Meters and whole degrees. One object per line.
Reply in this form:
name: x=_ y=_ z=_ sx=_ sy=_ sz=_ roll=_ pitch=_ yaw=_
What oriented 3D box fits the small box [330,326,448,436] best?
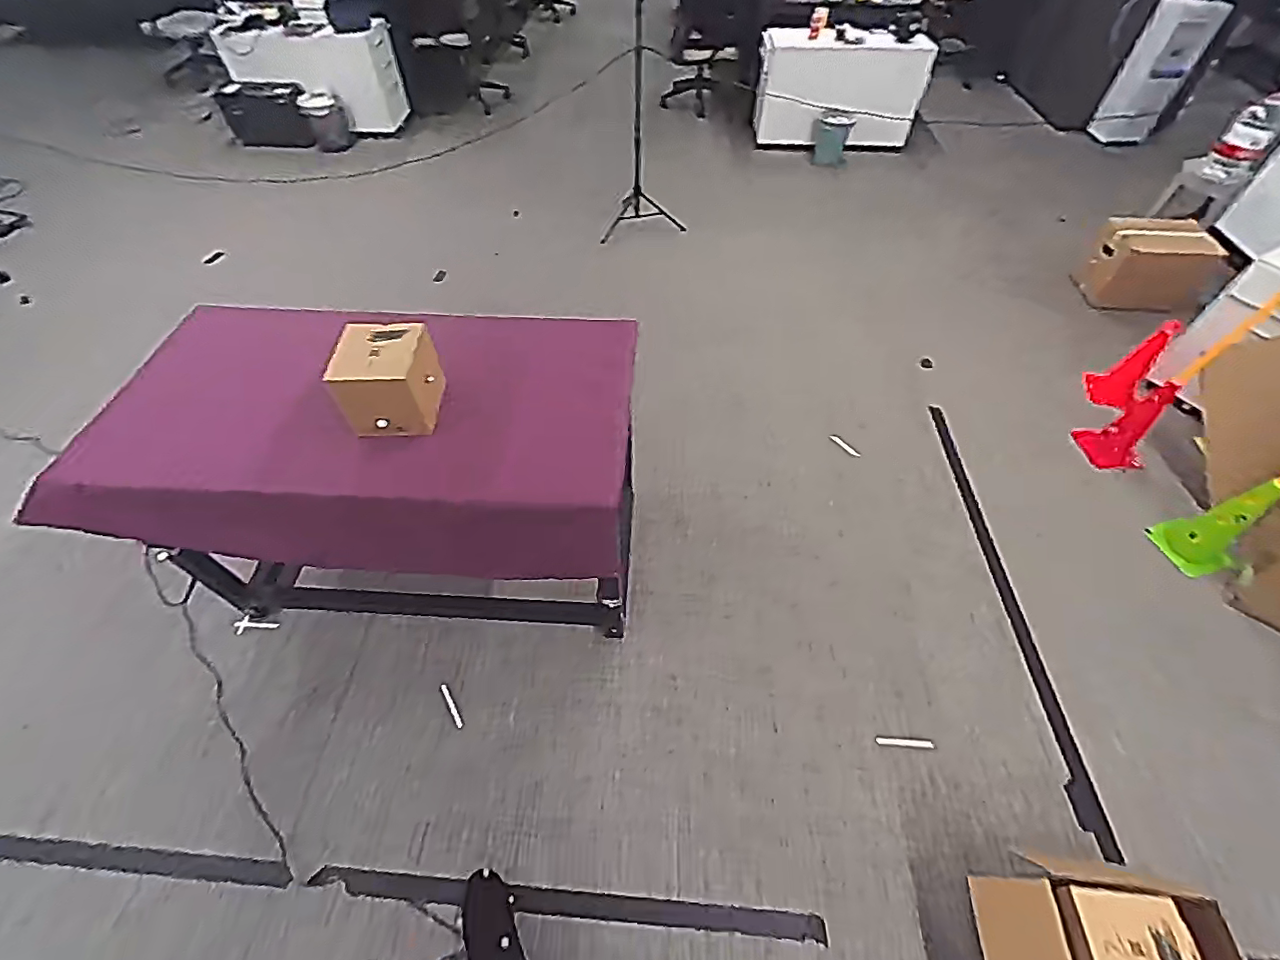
small box: x=-0.534 y=-0.216 z=1.181 sx=0.168 sy=0.176 sz=0.179 roll=-1 pitch=53 yaw=-1
